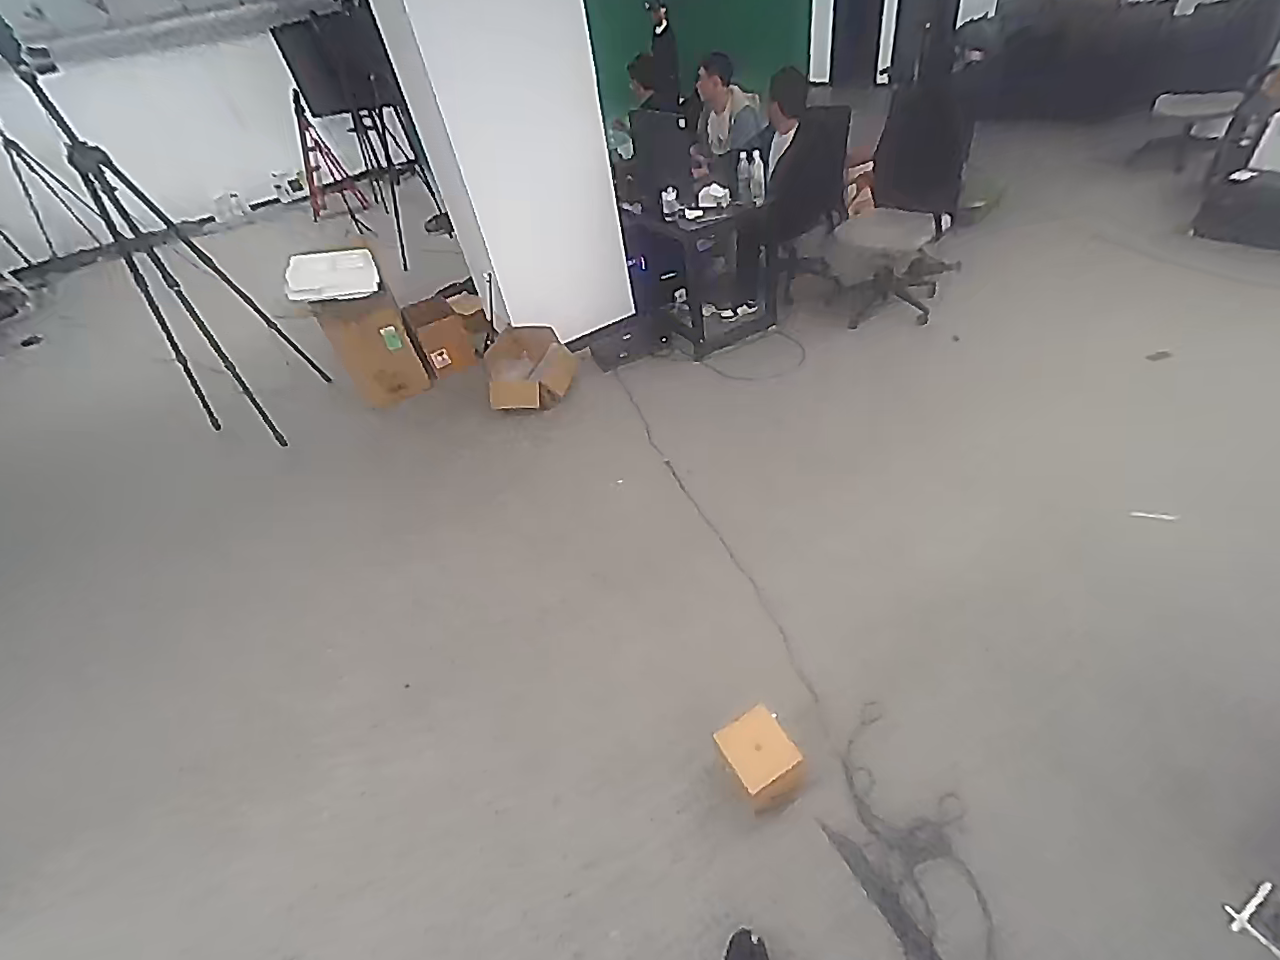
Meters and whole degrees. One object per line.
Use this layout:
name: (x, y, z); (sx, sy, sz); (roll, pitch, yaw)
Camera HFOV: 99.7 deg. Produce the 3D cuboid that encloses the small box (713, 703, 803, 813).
small box: (0.316, 0.748, 1.453); (0.168, 0.176, 0.179); (-26, 43, -14)
